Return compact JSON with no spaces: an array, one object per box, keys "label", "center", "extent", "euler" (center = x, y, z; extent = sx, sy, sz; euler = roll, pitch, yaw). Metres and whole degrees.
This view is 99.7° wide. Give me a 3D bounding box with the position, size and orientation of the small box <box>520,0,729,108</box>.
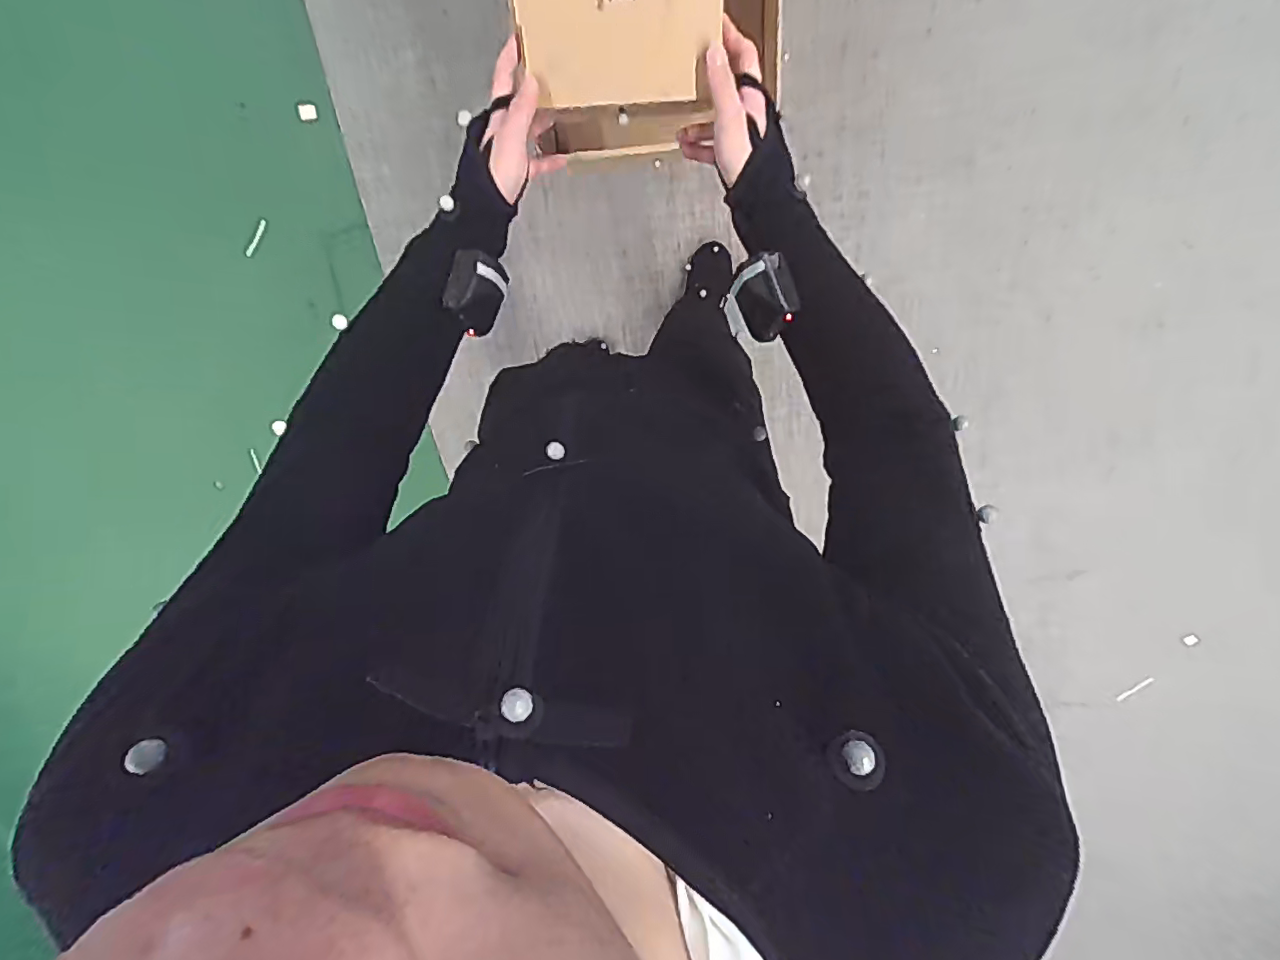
[{"label":"small box","center":[-0.007,-0.451,0.500],"extent":[0.179,0.176,0.168],"euler":[1,122,4]}]
